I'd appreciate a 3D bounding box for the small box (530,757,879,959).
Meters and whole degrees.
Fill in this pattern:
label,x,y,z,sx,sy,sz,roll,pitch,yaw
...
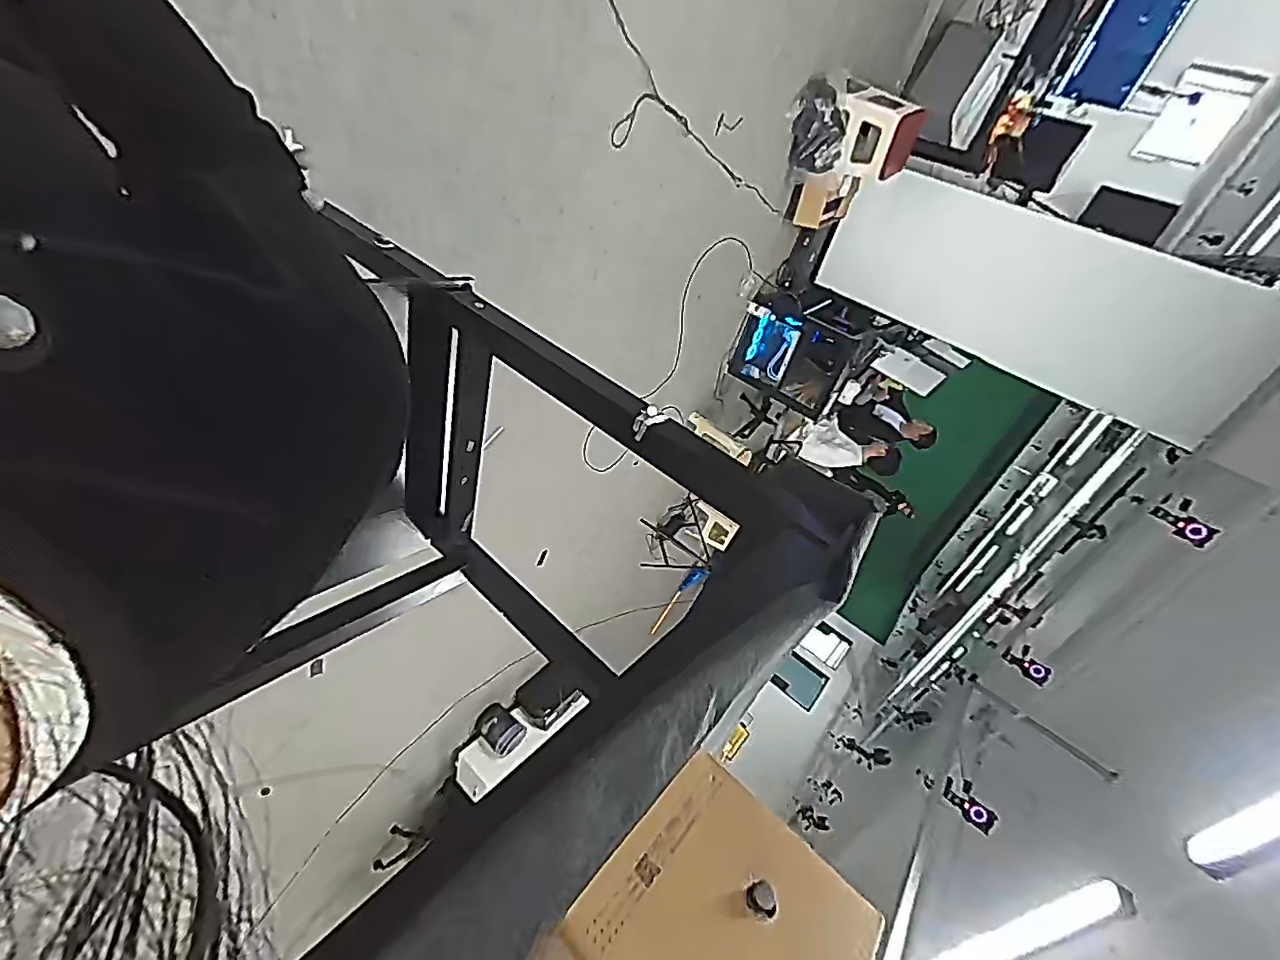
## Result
label,x,y,z,sx,sy,sz,roll,pitch,yaw
small box,0.035,0.344,0.397,0.168,0.176,0.179,-24,144,-49
